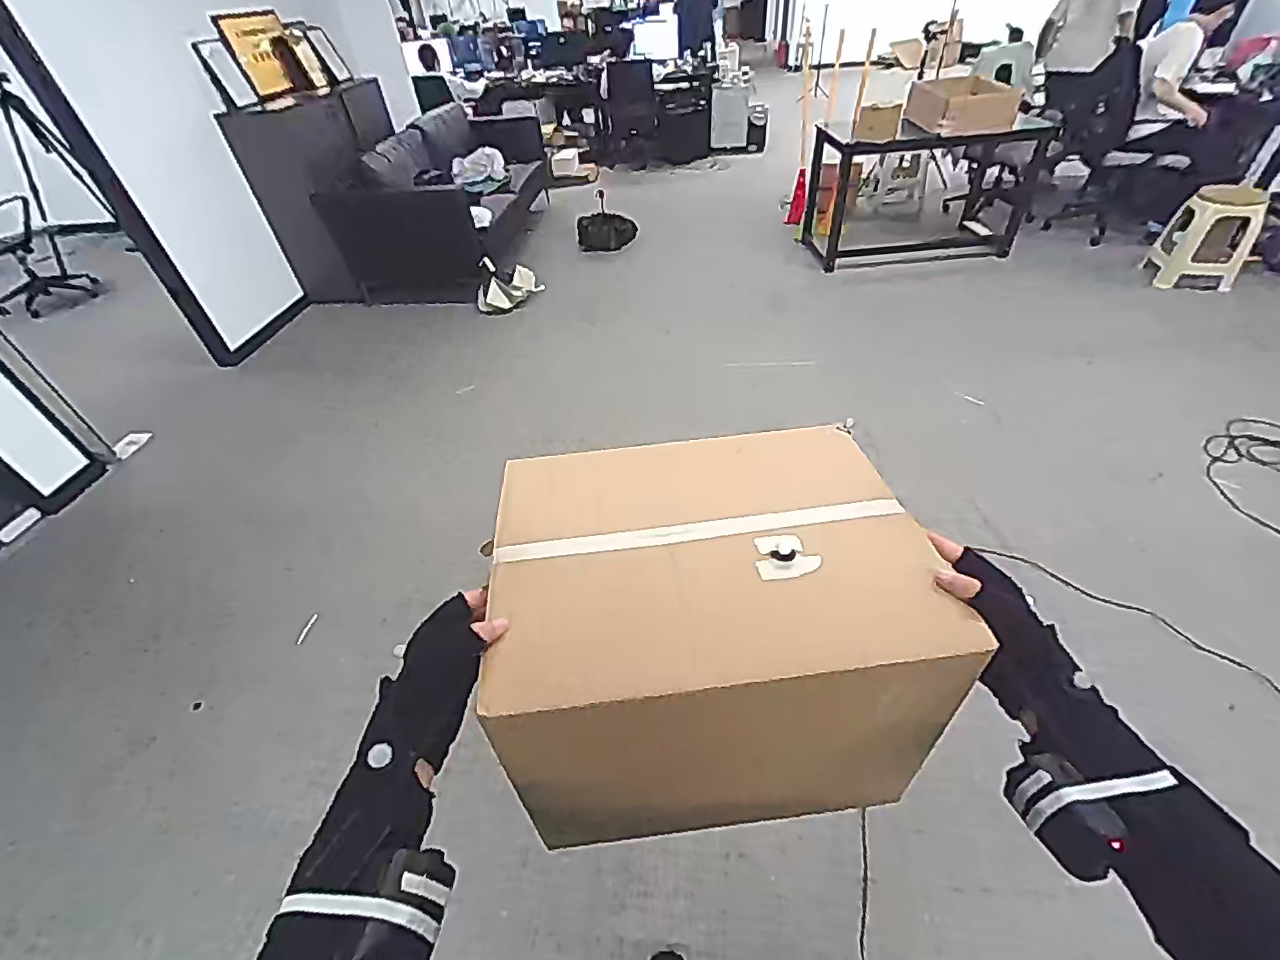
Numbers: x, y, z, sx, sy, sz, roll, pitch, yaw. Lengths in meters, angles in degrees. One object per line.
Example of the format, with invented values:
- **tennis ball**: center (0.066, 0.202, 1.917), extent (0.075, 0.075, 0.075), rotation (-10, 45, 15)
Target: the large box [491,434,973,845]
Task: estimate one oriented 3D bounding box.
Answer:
- **large box**: center (0.067, 0.175, 0.635), extent (0.408, 0.320, 0.320), rotation (-6, 40, -4)
